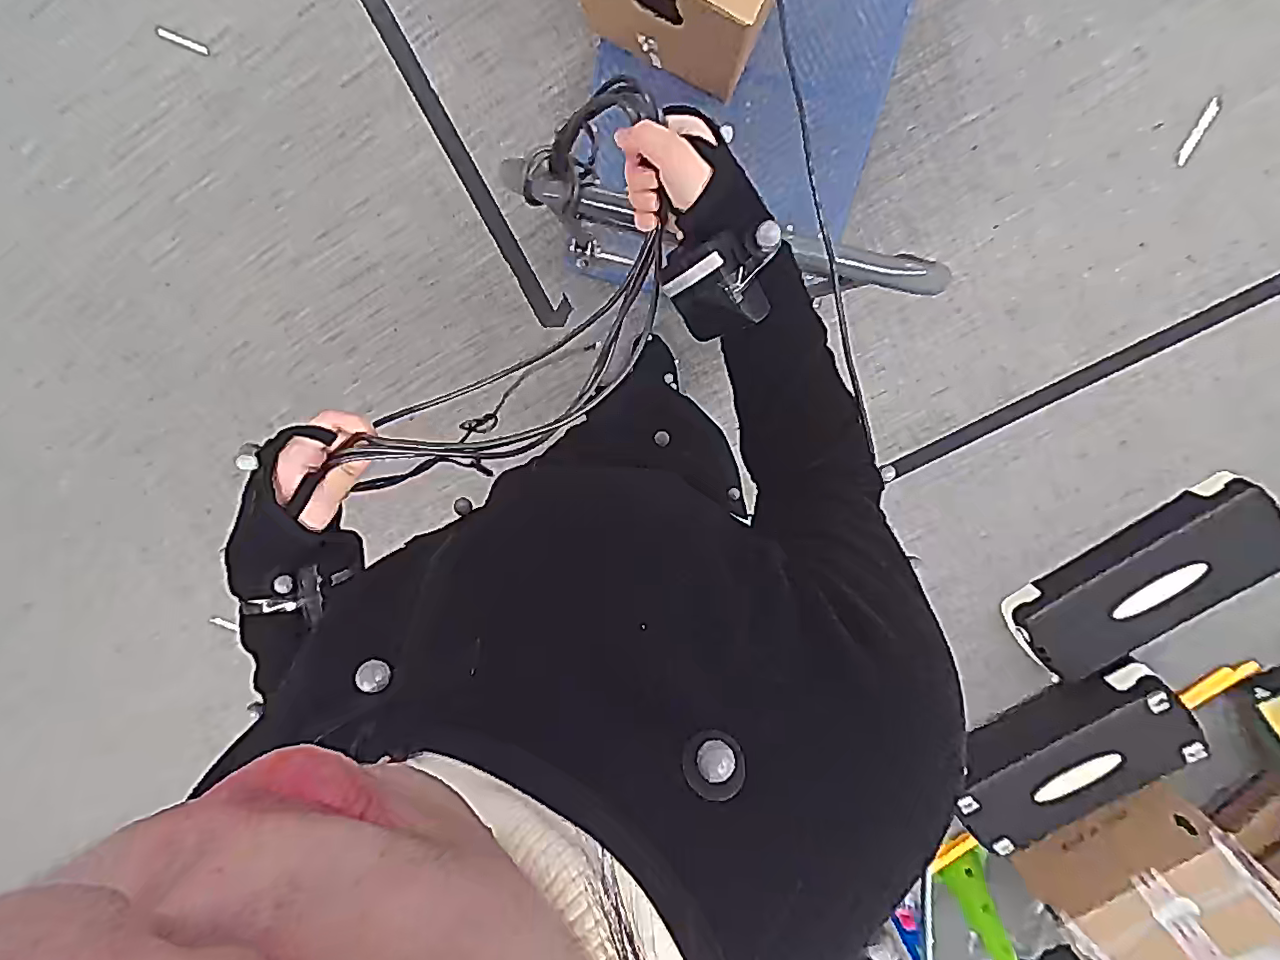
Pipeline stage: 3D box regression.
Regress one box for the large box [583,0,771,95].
[{"bbox_3d":[0.110,-0.949,0.871,0.320,0.320,0.408,24,106,-6],"label":"large box"}]
